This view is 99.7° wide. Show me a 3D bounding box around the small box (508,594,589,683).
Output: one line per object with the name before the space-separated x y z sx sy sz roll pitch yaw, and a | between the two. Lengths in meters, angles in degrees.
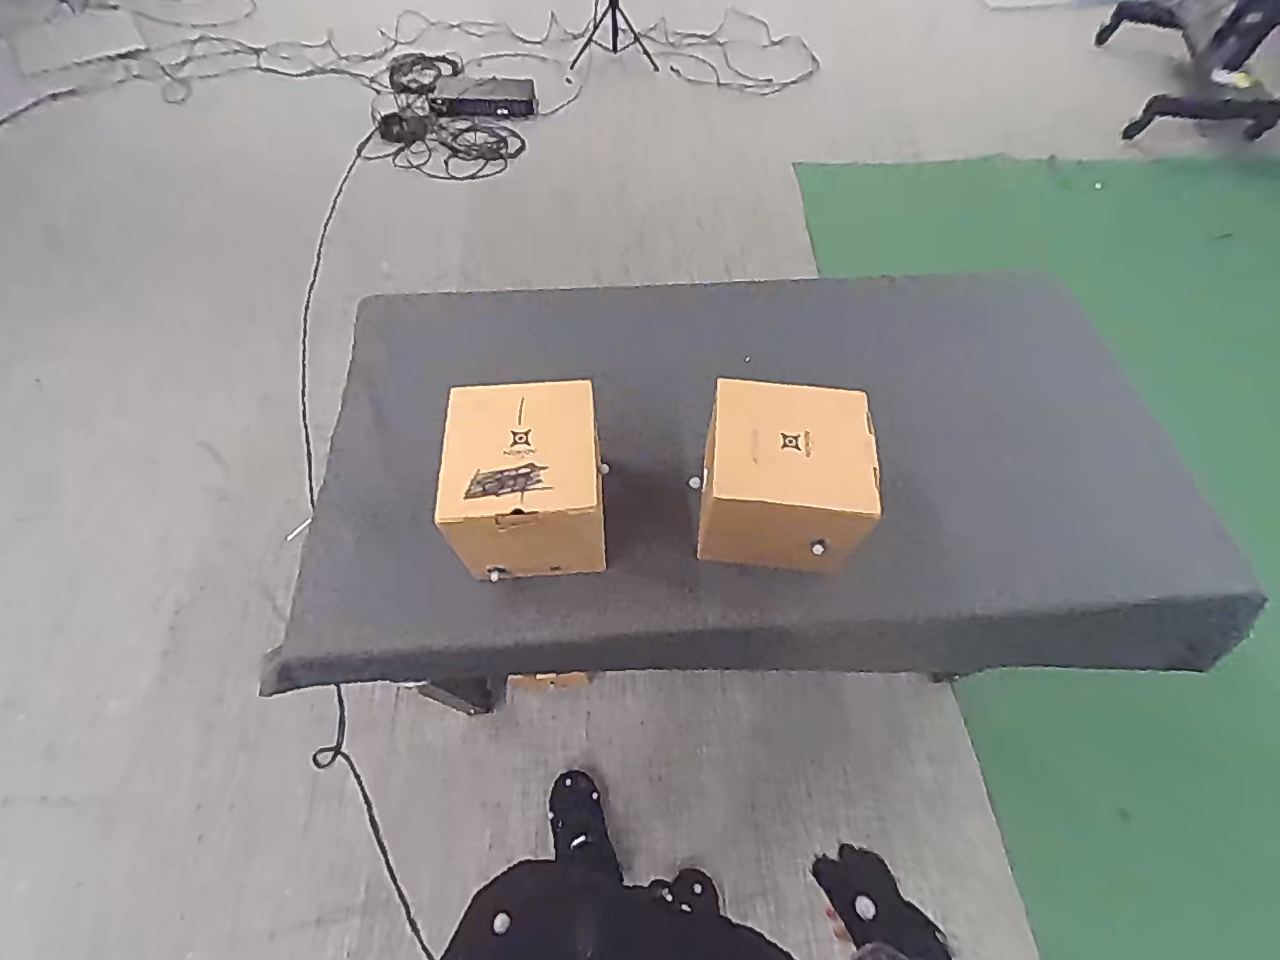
small box | -0.211 0.383 1.288 0.168 0.176 0.179 -3 61 -2

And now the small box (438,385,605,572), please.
small box | -0.130 0.006 0.662 0.168 0.176 0.179 -3 59 -3

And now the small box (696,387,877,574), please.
small box | 0.169 0.008 0.671 0.179 0.176 0.168 5 59 4
